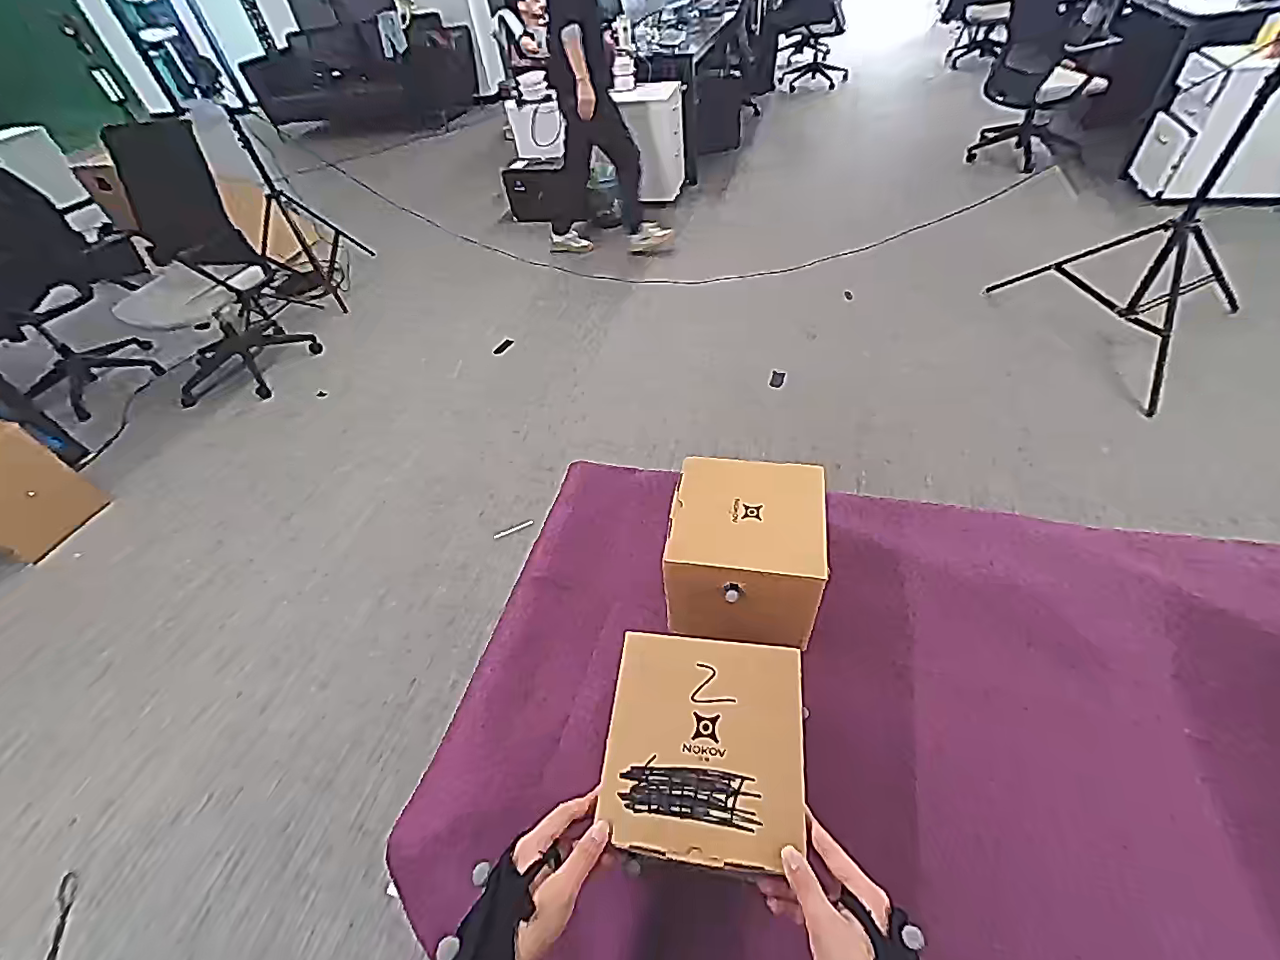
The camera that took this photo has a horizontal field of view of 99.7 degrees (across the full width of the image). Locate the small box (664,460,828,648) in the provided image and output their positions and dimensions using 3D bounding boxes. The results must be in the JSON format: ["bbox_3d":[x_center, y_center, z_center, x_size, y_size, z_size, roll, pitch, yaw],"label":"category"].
[{"bbox_3d":[0.134,0.096,0.688,0.179,0.176,0.168,5,48,12],"label":"small box"}]
